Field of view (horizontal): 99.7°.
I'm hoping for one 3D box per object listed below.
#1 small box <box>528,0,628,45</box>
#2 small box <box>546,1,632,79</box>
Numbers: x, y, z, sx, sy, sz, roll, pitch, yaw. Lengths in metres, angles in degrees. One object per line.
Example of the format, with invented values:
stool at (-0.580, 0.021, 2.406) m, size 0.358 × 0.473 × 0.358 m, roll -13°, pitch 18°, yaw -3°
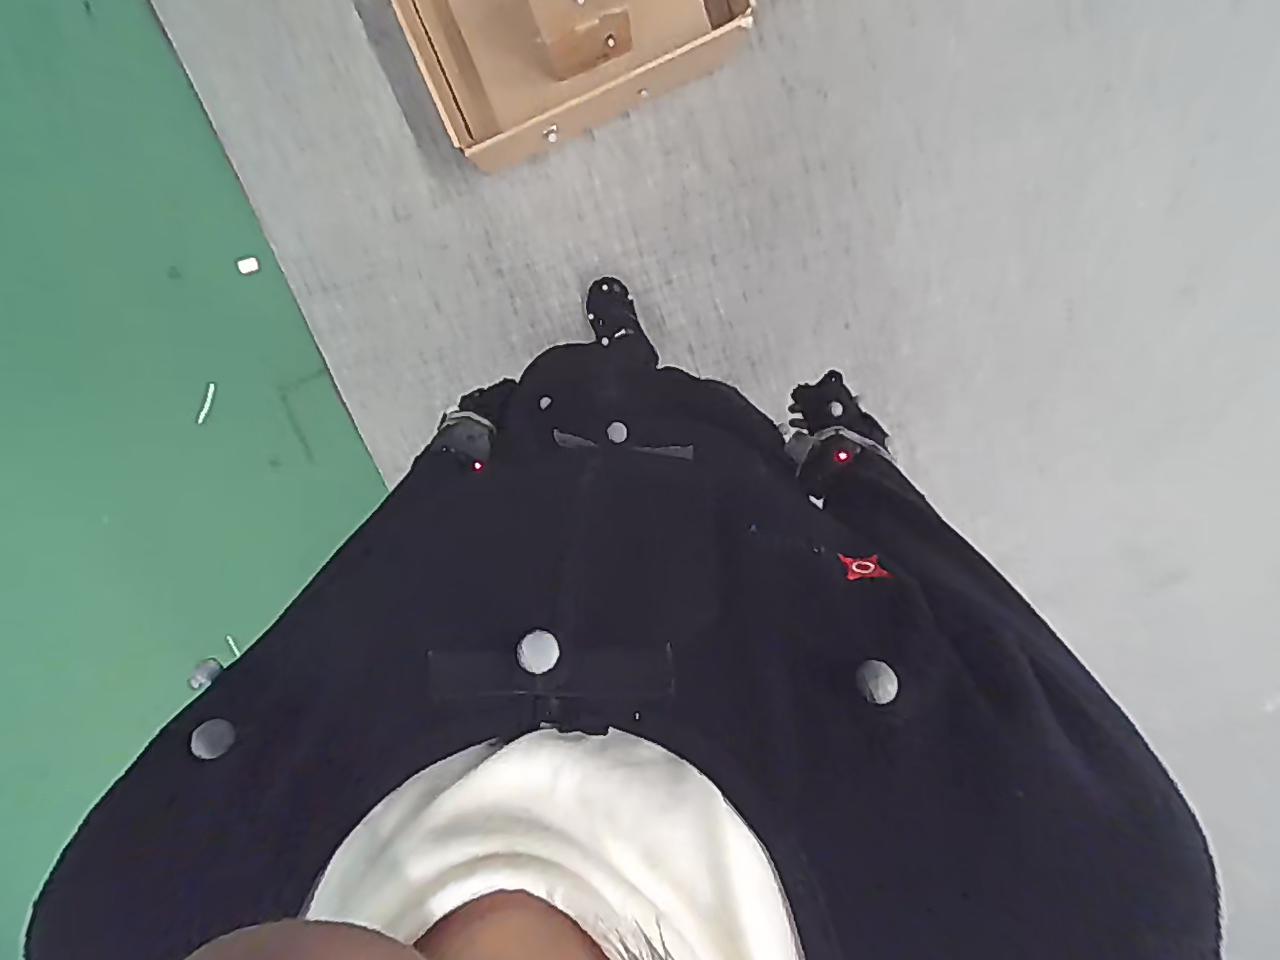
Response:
small box at (-0.119, -0.868, 0.880) m, size 0.179 × 0.176 × 0.168 m, roll -20°, pitch 105°, yaw 7°
small box at (-0.117, -0.914, 1.038) m, size 0.168 × 0.176 × 0.179 m, roll -19°, pitch 104°, yaw 6°
